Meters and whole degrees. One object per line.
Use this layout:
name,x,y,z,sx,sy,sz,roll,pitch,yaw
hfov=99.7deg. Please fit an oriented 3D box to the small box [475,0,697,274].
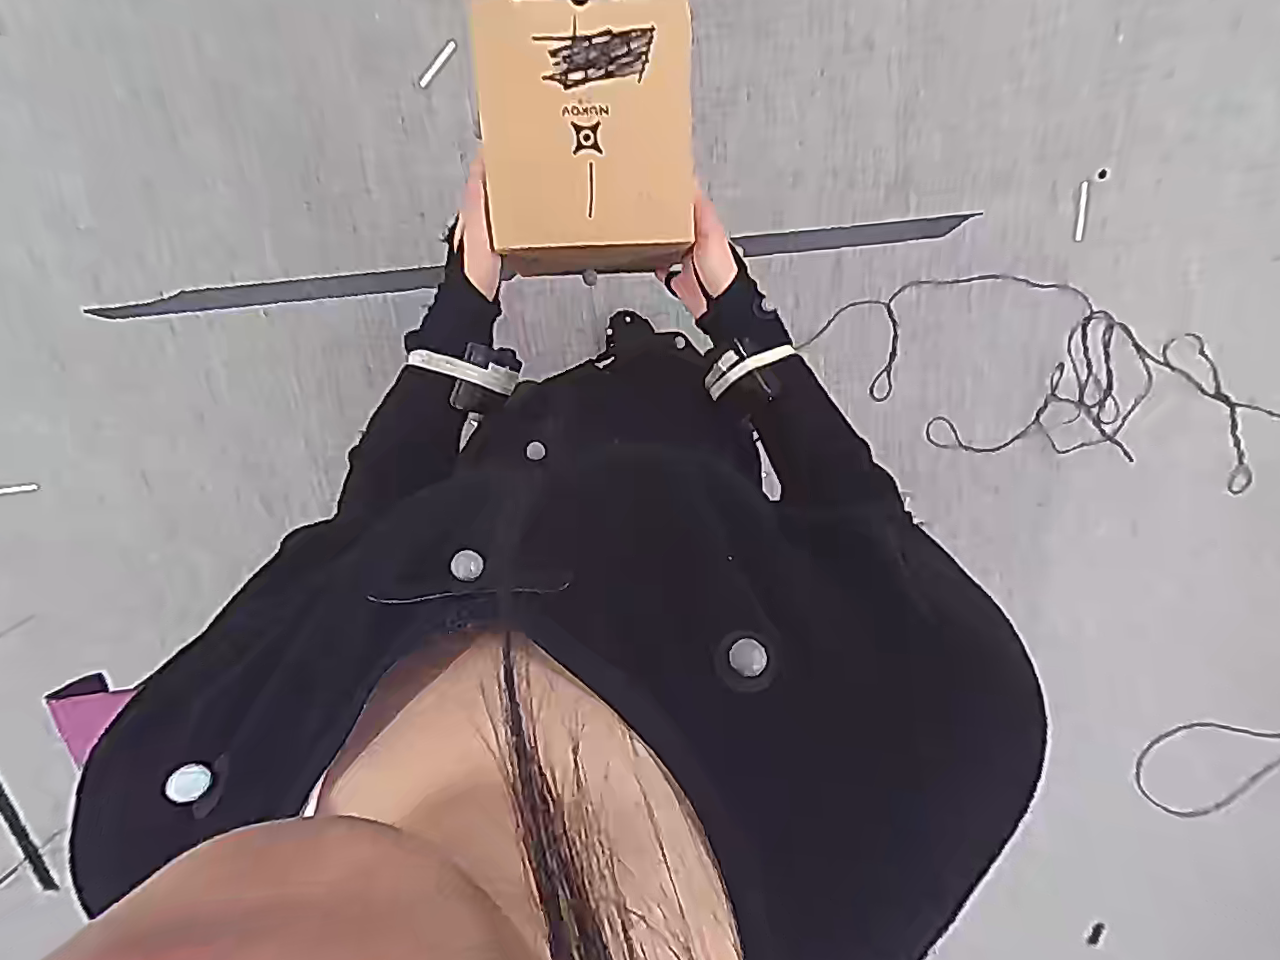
small box,-0.044,-0.294,0.492,0.168,0.176,0.179,-4,104,-4
